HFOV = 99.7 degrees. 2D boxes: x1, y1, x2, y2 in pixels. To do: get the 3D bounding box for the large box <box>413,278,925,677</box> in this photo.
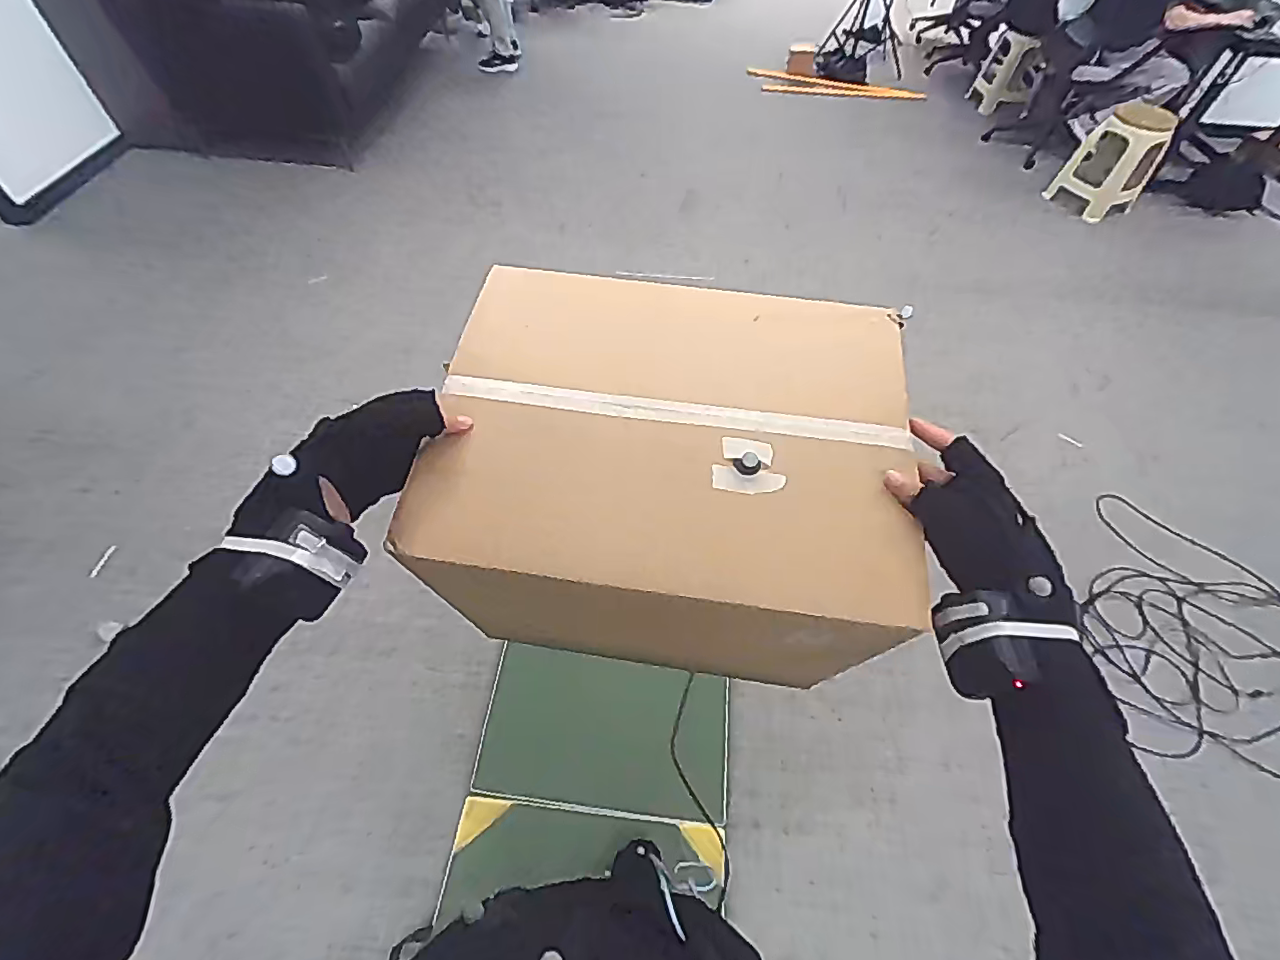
[{"bbox_3d":[0.032,0.016,0.611,0.408,0.320,0.320,8,62,3],"label":"large box"}]
